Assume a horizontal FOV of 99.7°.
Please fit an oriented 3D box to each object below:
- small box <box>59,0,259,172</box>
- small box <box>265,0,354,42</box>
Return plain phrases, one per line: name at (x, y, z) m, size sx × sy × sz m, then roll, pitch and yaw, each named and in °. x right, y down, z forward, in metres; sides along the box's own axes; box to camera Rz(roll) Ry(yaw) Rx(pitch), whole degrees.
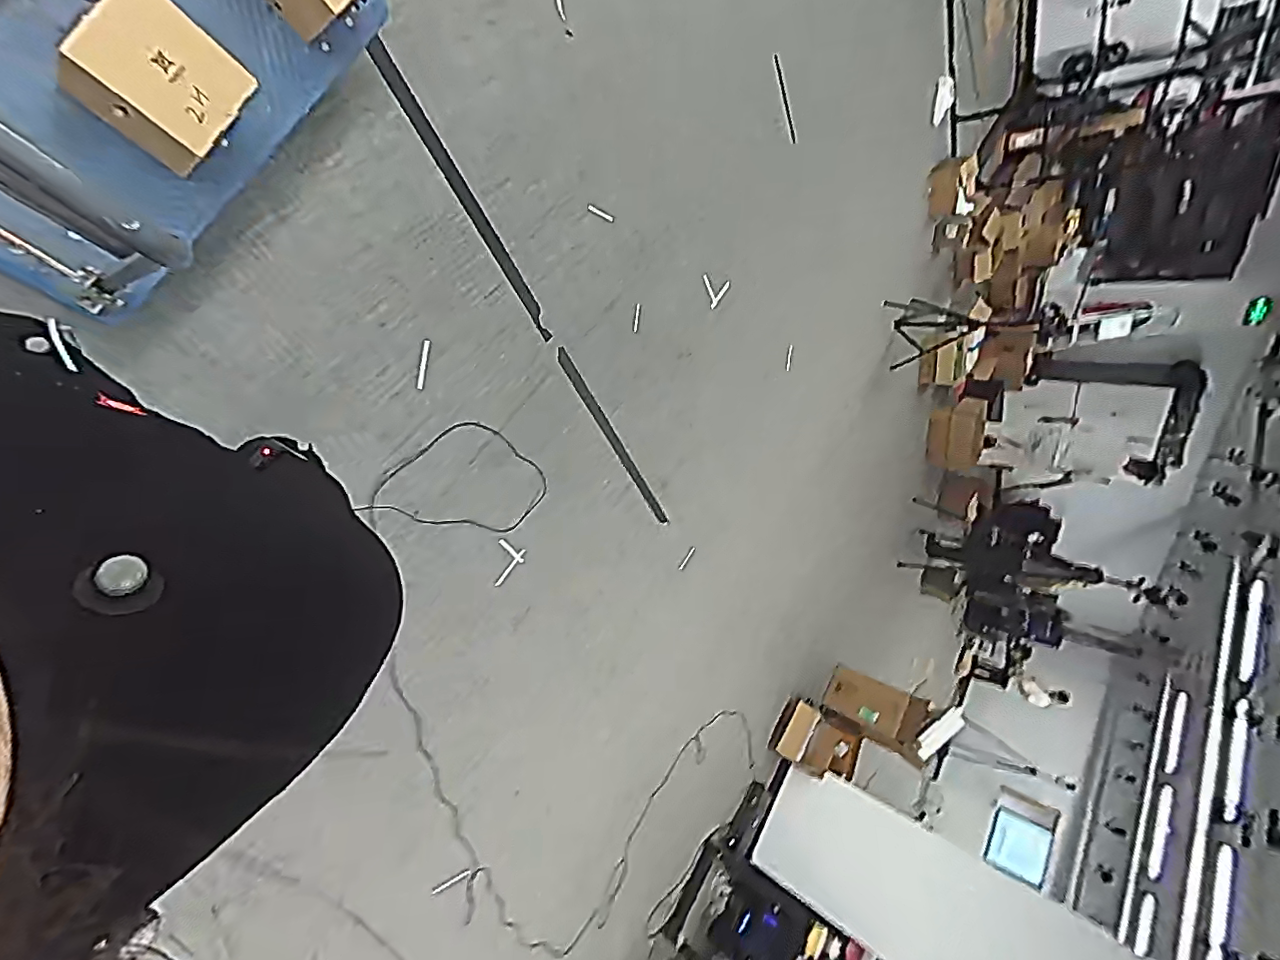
small box at (-0.763, -0.628, 0.859) m, size 0.179 × 0.176 × 0.168 m, roll 39°, pitch 72°, yaw -47°
small box at (-0.591, -0.939, 0.963) m, size 0.168 × 0.176 × 0.179 m, roll 45°, pitch 68°, yaw -45°
